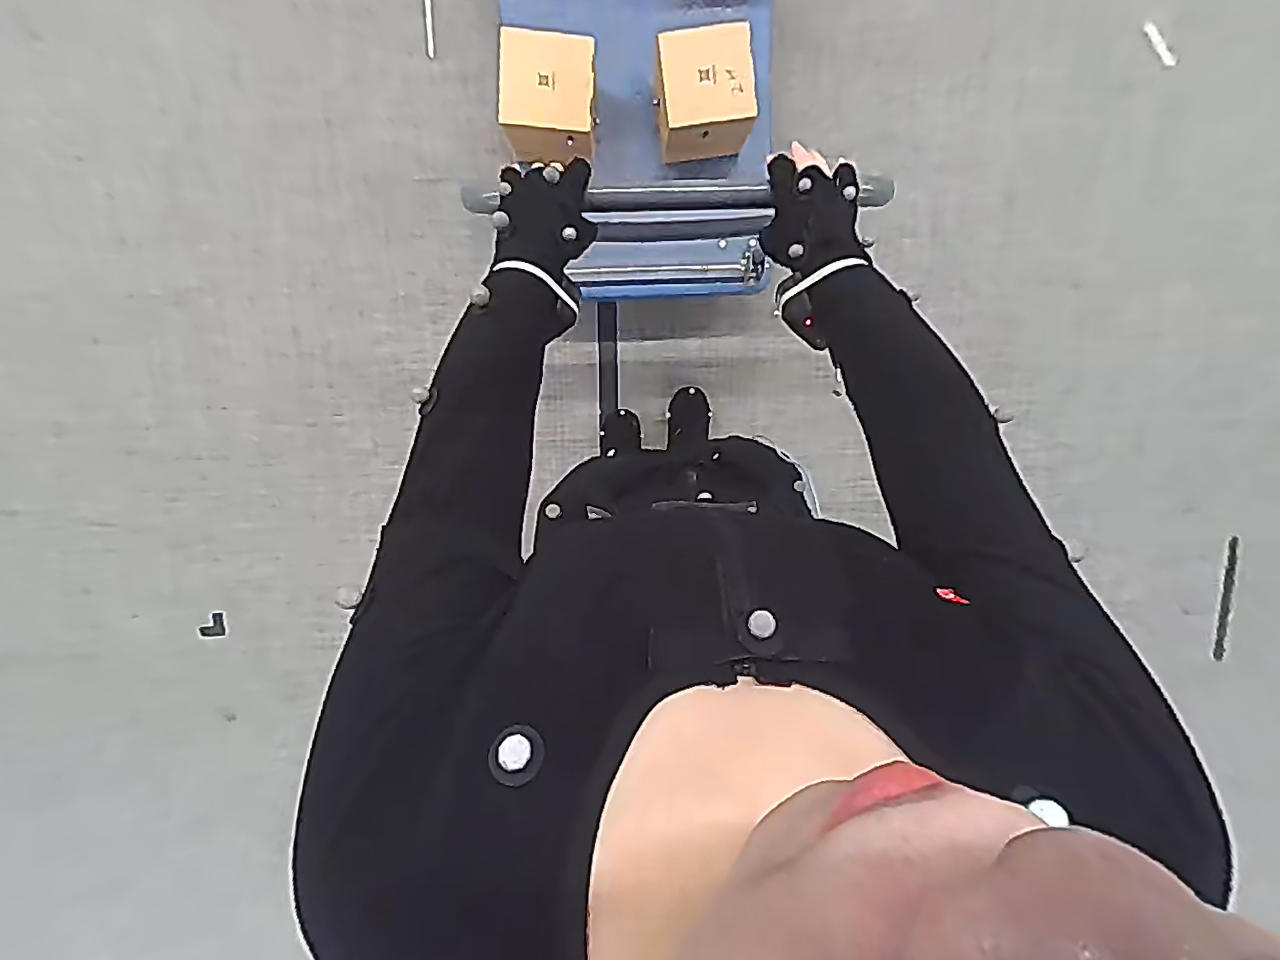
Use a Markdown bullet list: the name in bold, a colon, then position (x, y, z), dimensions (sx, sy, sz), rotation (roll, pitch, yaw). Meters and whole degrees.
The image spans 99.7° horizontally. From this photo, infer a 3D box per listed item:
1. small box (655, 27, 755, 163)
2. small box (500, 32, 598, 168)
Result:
- **small box**: position (0.125, -0.775, 1.108), dimensions (0.179, 0.176, 0.168), rotation (-8, 100, -1)
- **small box**: position (-0.180, -0.760, 1.099), dimensions (0.179, 0.176, 0.168), rotation (3, 99, -5)
